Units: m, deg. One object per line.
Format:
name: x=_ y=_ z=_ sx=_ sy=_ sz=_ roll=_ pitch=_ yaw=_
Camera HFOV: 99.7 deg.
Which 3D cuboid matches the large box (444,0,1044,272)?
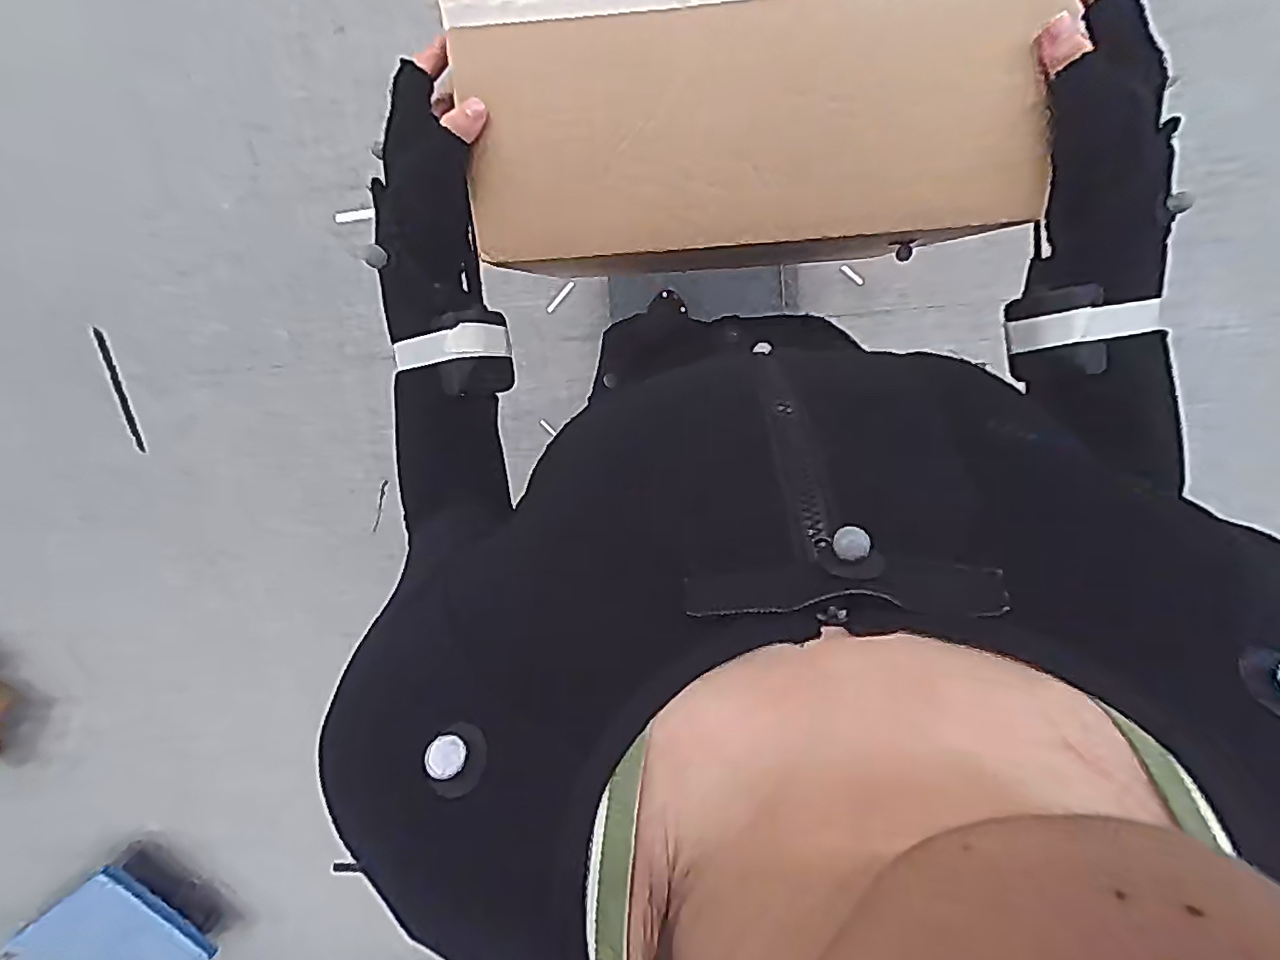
large box: x=0.072 y=-0.373 z=0.496 sx=0.408 sy=0.320 sz=0.320 roll=-3 pitch=108 yaw=3
